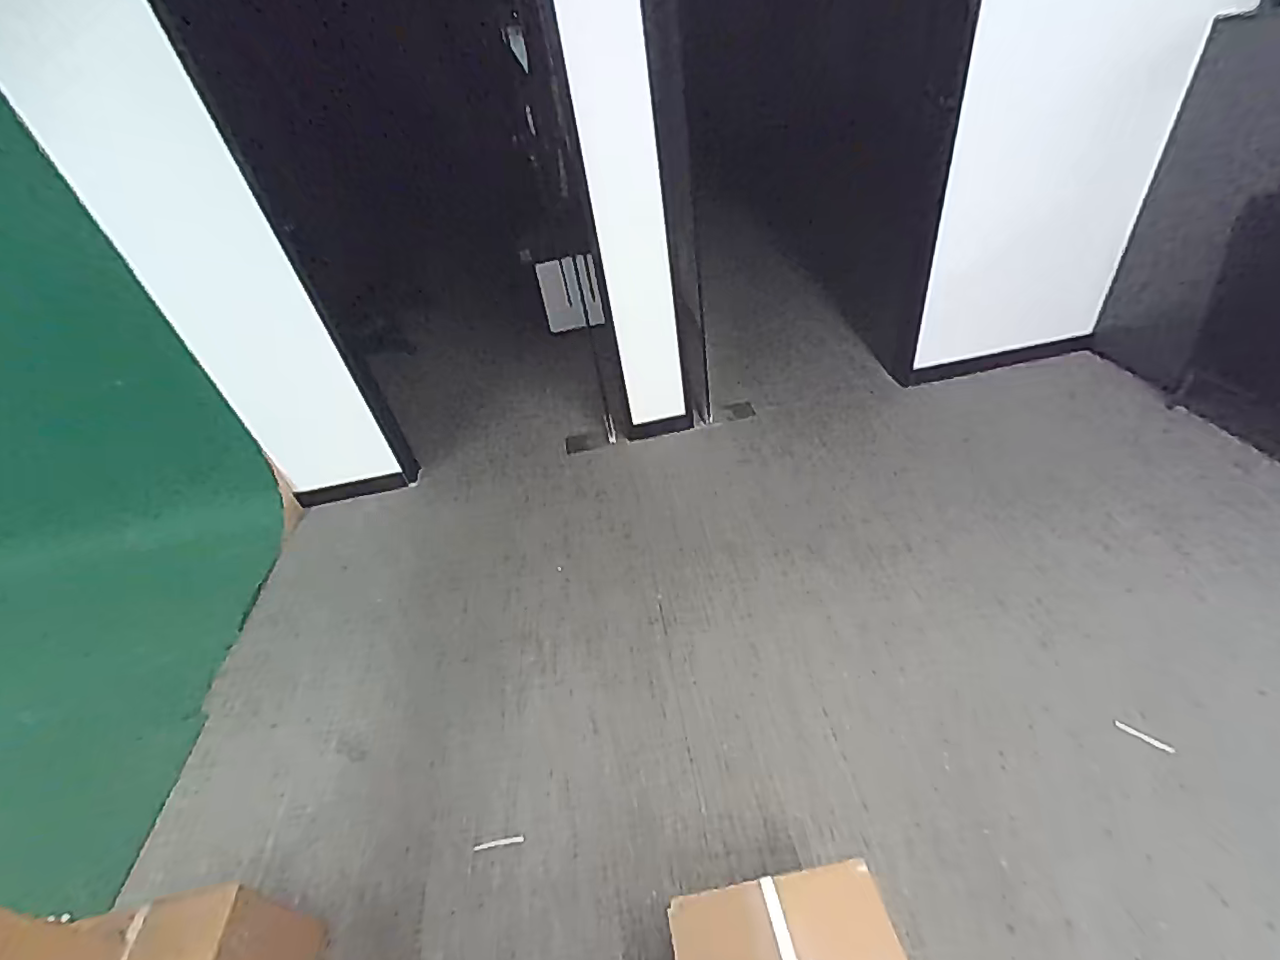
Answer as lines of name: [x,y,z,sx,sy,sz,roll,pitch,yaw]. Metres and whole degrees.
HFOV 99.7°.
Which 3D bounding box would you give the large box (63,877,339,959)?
large box: [-0.762,0.961,0.877,0.320,0.320,0.408,-13,38,-1]
